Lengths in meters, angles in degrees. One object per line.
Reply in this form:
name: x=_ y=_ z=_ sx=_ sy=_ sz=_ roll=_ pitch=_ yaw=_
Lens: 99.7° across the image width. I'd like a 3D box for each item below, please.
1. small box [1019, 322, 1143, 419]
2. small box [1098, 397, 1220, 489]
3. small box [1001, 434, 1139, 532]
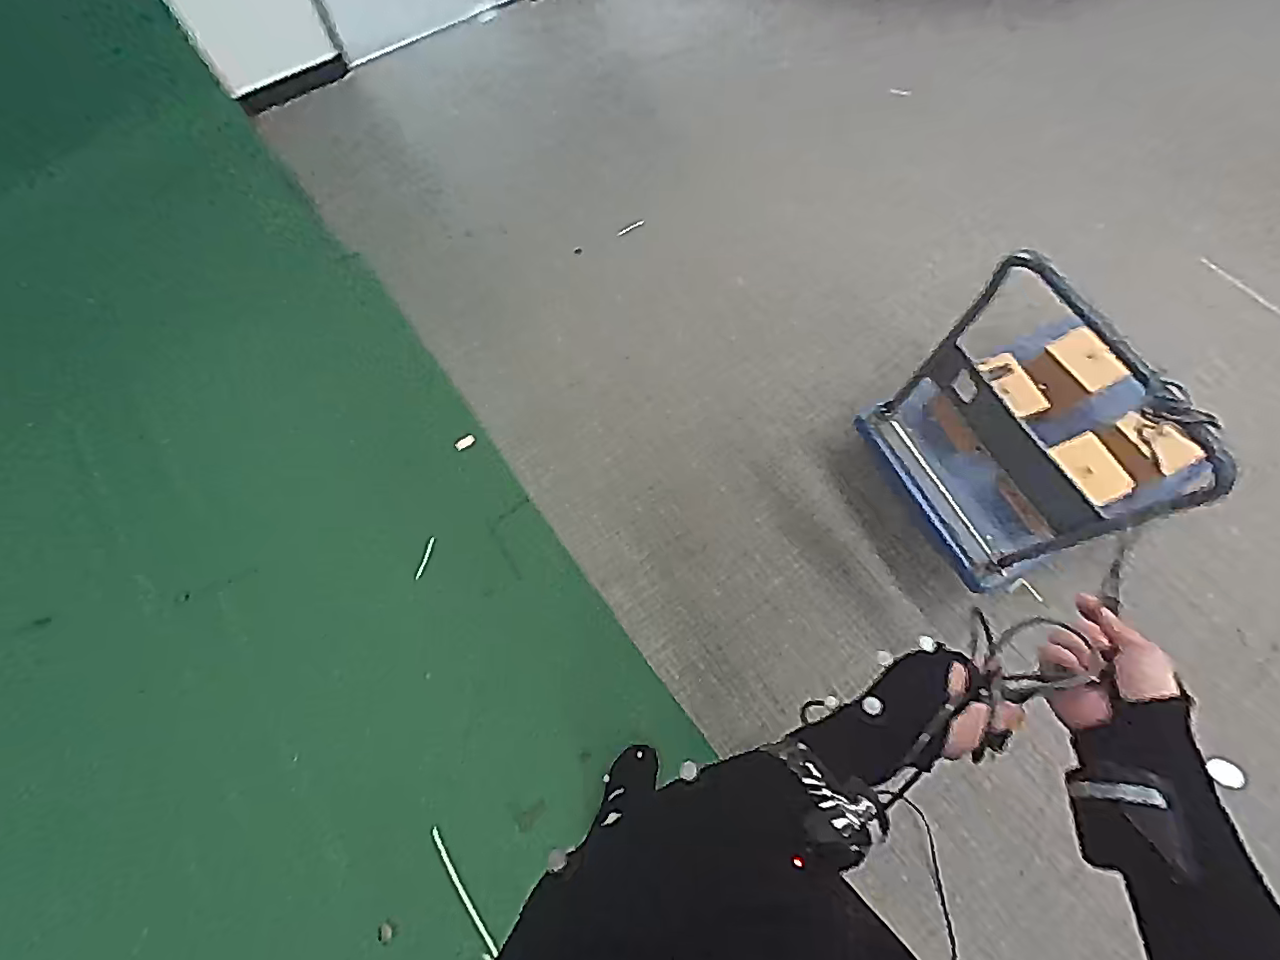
small box: x=1.196 y=-0.295 z=1.490 sx=0.179 sy=0.176 sz=0.168 roll=-27 pitch=71 yaw=-10
small box: x=1.304 y=-0.080 z=1.404 sx=0.179 sy=0.176 sz=0.168 roll=-25 pitch=69 yaw=-9
small box: x=1.076 y=0.012 z=1.370 sx=0.179 sy=0.176 sz=0.168 roll=-22 pitch=70 yaw=-8
